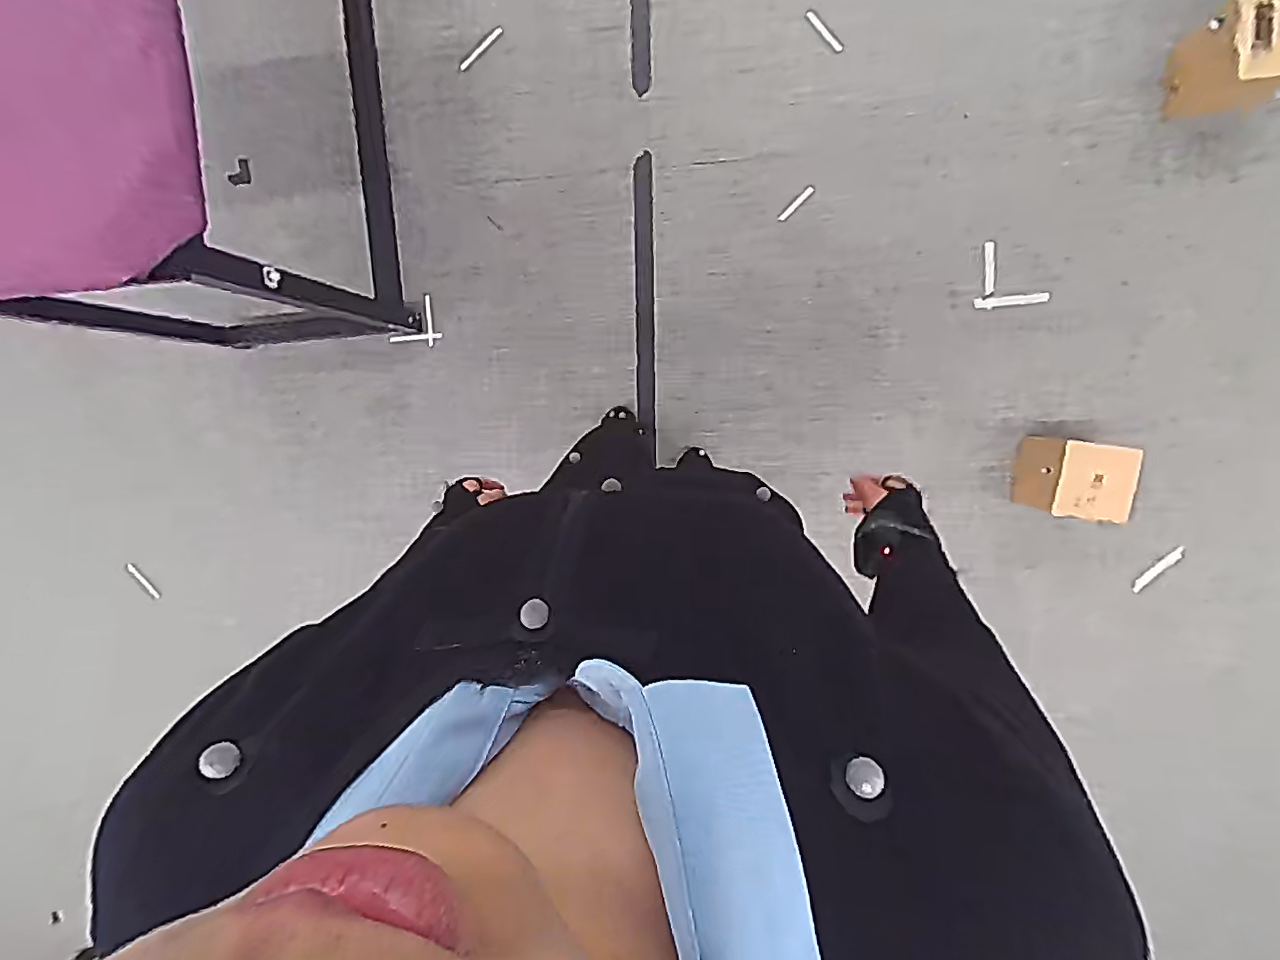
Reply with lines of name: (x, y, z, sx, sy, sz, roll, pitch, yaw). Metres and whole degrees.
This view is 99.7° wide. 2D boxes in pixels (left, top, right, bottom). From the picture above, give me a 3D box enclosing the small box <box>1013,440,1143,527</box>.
small box: (1.042, 0.001, 1.305, 0.168, 0.176, 0.179, 8, 98, 5)
